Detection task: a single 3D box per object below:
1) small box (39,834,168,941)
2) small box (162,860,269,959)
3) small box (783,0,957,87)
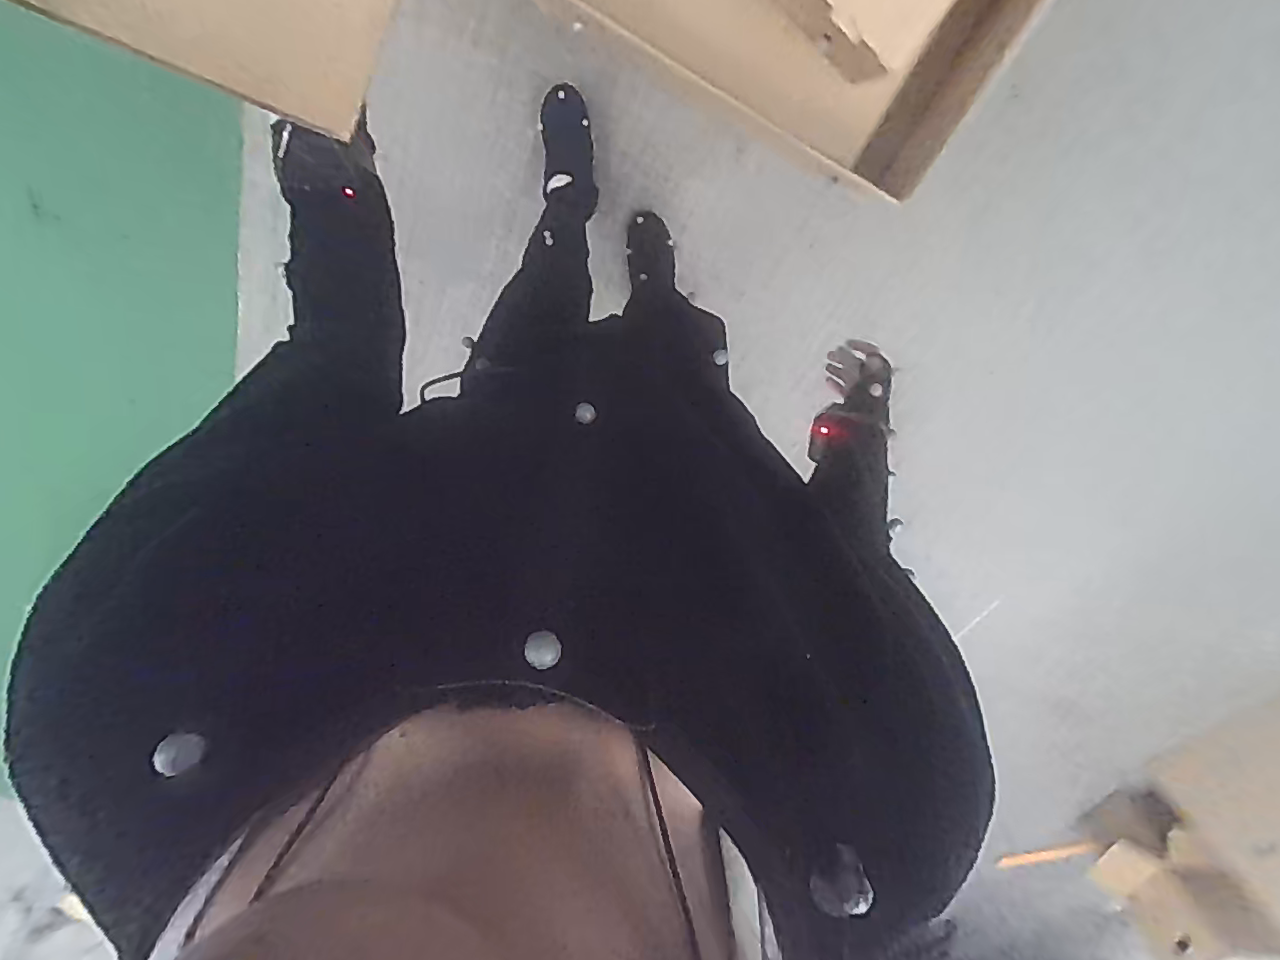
[{"bbox_3d":[-1.380,1.055,1.404,0.179,0.176,0.168,25,120,-13],"label":"small box"},{"bbox_3d":[-1.147,1.179,1.473,0.168,0.176,0.179,20,120,-10],"label":"small box"},{"bbox_3d":[0.295,-0.623,0.662,0.168,0.176,0.179,33,118,-16],"label":"small box"}]
